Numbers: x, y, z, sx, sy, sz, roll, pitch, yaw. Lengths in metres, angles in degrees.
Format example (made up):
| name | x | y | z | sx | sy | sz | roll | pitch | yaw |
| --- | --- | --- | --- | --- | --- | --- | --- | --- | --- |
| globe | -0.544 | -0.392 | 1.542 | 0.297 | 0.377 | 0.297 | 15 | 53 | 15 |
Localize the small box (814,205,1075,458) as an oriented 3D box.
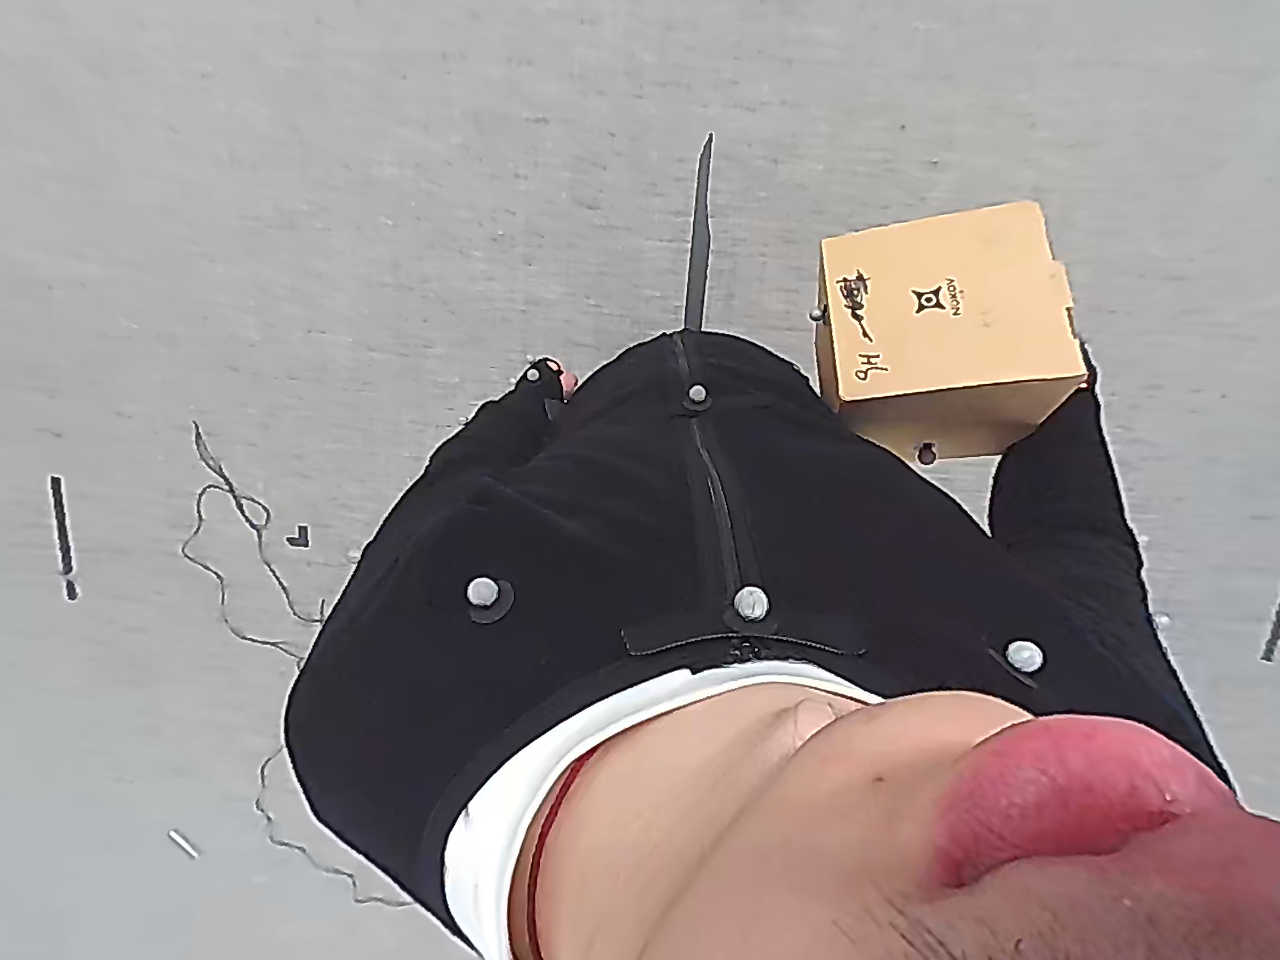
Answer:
| name | x | y | z | sx | sy | sz | roll | pitch | yaw |
| --- | --- | --- | --- | --- | --- | --- | --- | --- | --- |
| small box | 0.272 | -0.129 | 0.532 | 0.179 | 0.176 | 0.168 | -4 | 70 | 14 |
